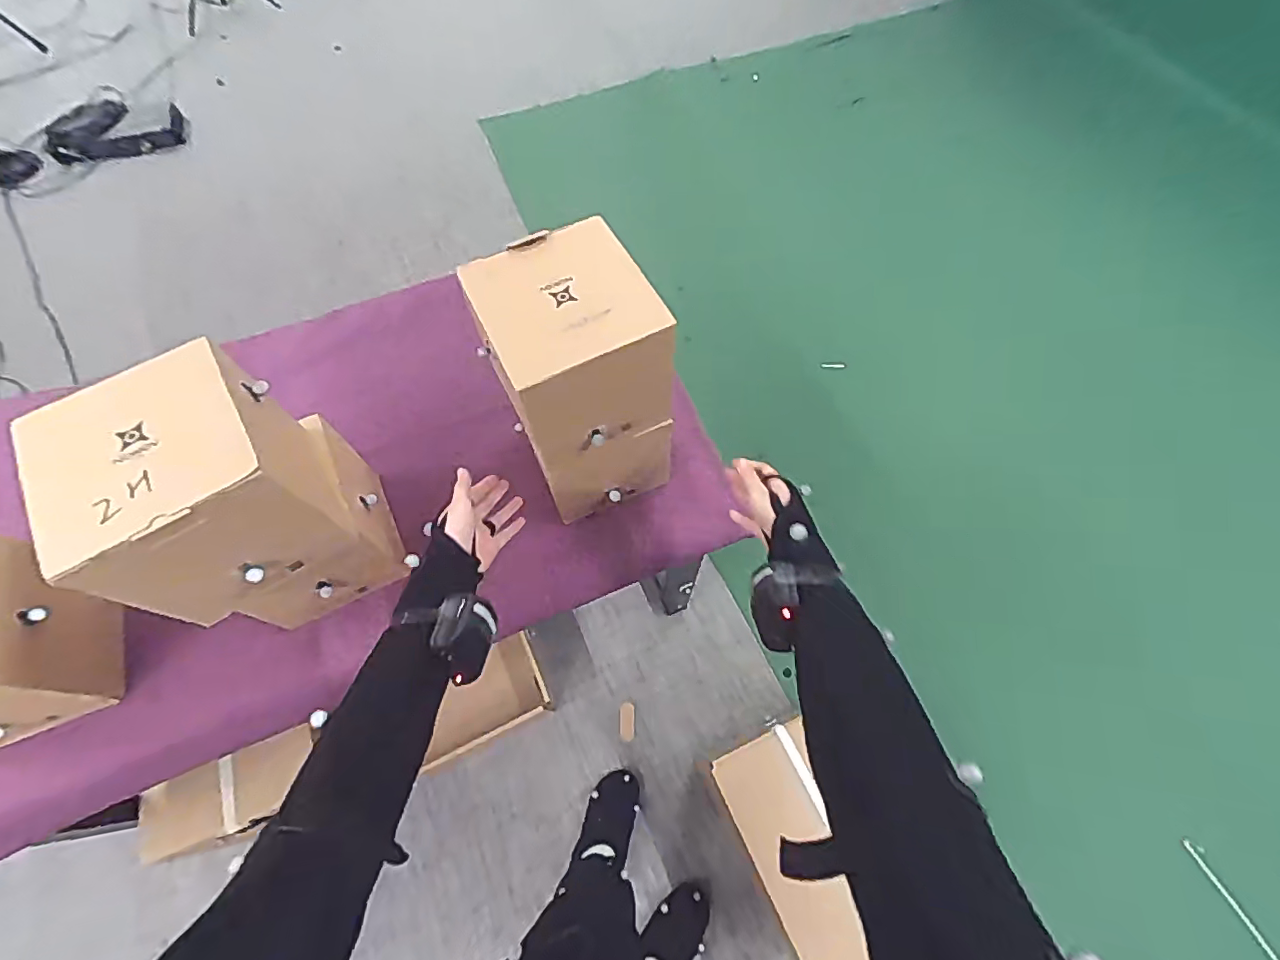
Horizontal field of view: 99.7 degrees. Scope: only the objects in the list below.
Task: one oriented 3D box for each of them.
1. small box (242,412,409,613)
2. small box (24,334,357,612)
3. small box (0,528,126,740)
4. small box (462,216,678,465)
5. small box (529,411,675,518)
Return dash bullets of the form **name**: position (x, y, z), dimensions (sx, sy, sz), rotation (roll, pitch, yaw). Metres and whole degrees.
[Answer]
- **small box**: position (-0.419, 0.052, 0.683), dimensions (0.168, 0.176, 0.179), rotation (-26, 66, -12)
- **small box**: position (-0.415, 0.001, 0.525), dimensions (0.168, 0.176, 0.179), rotation (-32, 68, -14)
- **small box**: position (-0.744, 0.185, 0.619), dimensions (0.168, 0.176, 0.179), rotation (-20, 66, -10)
- **small box**: position (-0.072, -0.148, 0.601), dimensions (0.168, 0.176, 0.179), rotation (-25, 66, -10)
- **small box**: position (-0.065, -0.075, 0.747), dimensions (0.168, 0.176, 0.179), rotation (-22, 66, -10)
